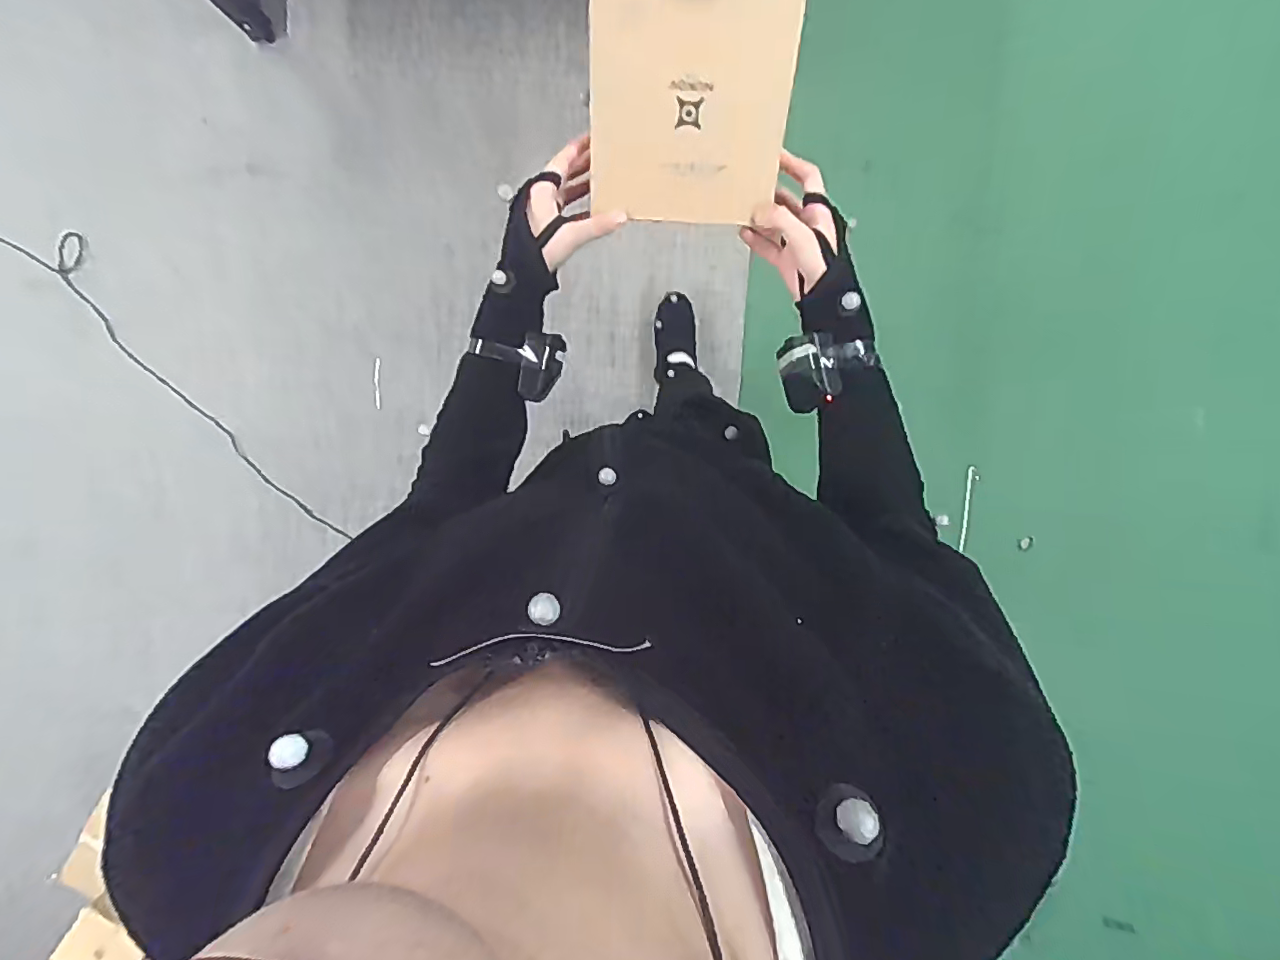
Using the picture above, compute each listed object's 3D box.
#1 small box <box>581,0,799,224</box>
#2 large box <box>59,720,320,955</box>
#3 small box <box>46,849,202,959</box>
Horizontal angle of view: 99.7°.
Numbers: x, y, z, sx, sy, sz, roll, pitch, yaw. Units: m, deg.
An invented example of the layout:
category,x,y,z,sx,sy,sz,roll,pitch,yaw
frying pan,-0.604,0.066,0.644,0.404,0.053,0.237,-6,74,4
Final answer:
category,x,y,z,sx,sy,sz,roll,pitch,yaw
small box,0.034,-0.352,0.505,0.168,0.176,0.179,3,124,-1
large box,-1.209,0.959,1.493,0.408,0.320,0.320,34,96,-2
small box,-1.182,1.020,1.254,0.168,0.176,0.179,38,97,-3
